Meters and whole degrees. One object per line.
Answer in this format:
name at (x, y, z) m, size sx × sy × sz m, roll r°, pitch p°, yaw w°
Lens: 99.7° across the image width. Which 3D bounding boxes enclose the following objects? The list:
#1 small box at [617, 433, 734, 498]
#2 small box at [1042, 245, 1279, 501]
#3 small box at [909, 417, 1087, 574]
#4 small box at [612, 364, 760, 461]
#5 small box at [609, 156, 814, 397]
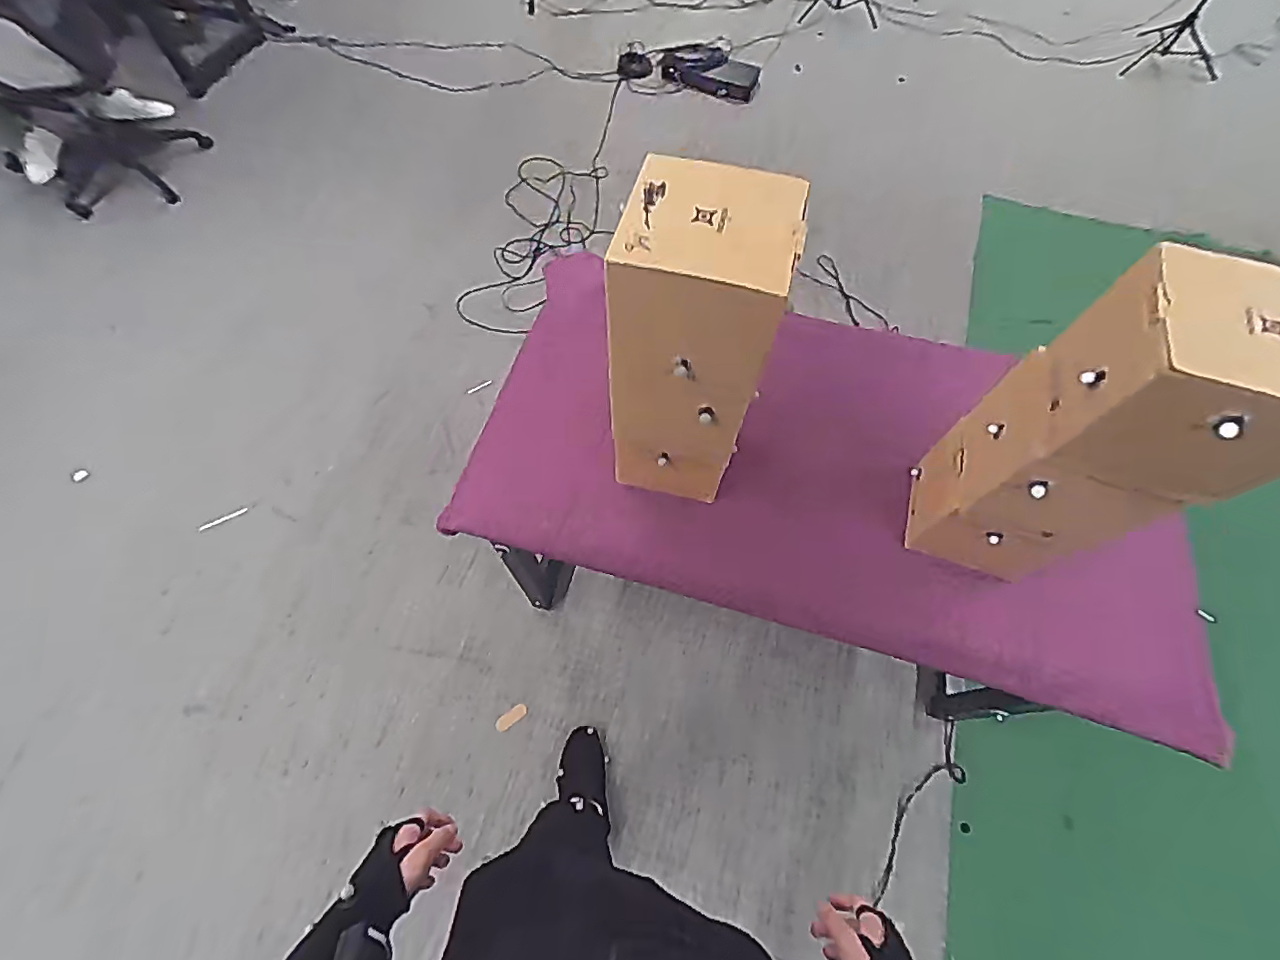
small box at (0.068, -0.085, 0.903) m, size 0.179 × 0.176 × 0.168 m, roll 13°, pitch 64°, yaw 6°
small box at (0.552, -0.099, 0.551) m, size 0.179 × 0.176 × 0.168 m, roll 19°, pitch 65°, yaw 8°
small box at (0.549, 0.032, 0.851) m, size 0.179 × 0.176 × 0.168 m, roll 17°, pitch 64°, yaw 7°
small box at (0.069, -0.145, 0.748) m, size 0.179 × 0.176 × 0.168 m, roll 14°, pitch 64°, yaw 6°
small box at (0.073, -0.214, 0.600) m, size 0.179 × 0.176 × 0.168 m, roll 14°, pitch 64°, yaw 5°
